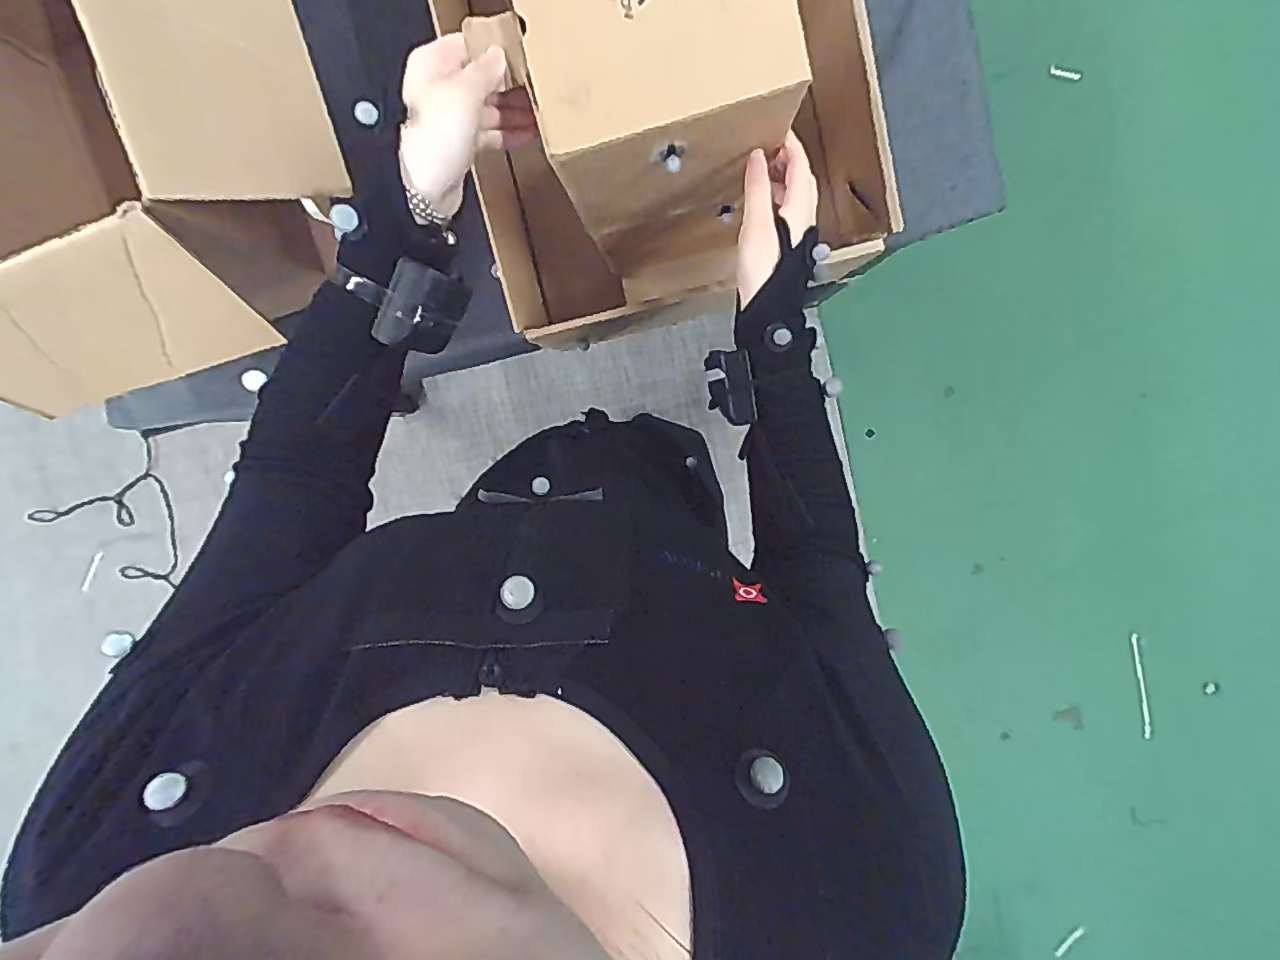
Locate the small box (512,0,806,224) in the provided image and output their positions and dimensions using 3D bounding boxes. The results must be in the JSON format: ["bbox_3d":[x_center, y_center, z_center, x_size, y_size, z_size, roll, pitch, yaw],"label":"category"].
[{"bbox_3d":[0.011,-0.324,0.424,0.179,0.176,0.168,-13,99,5],"label":"small box"}]
